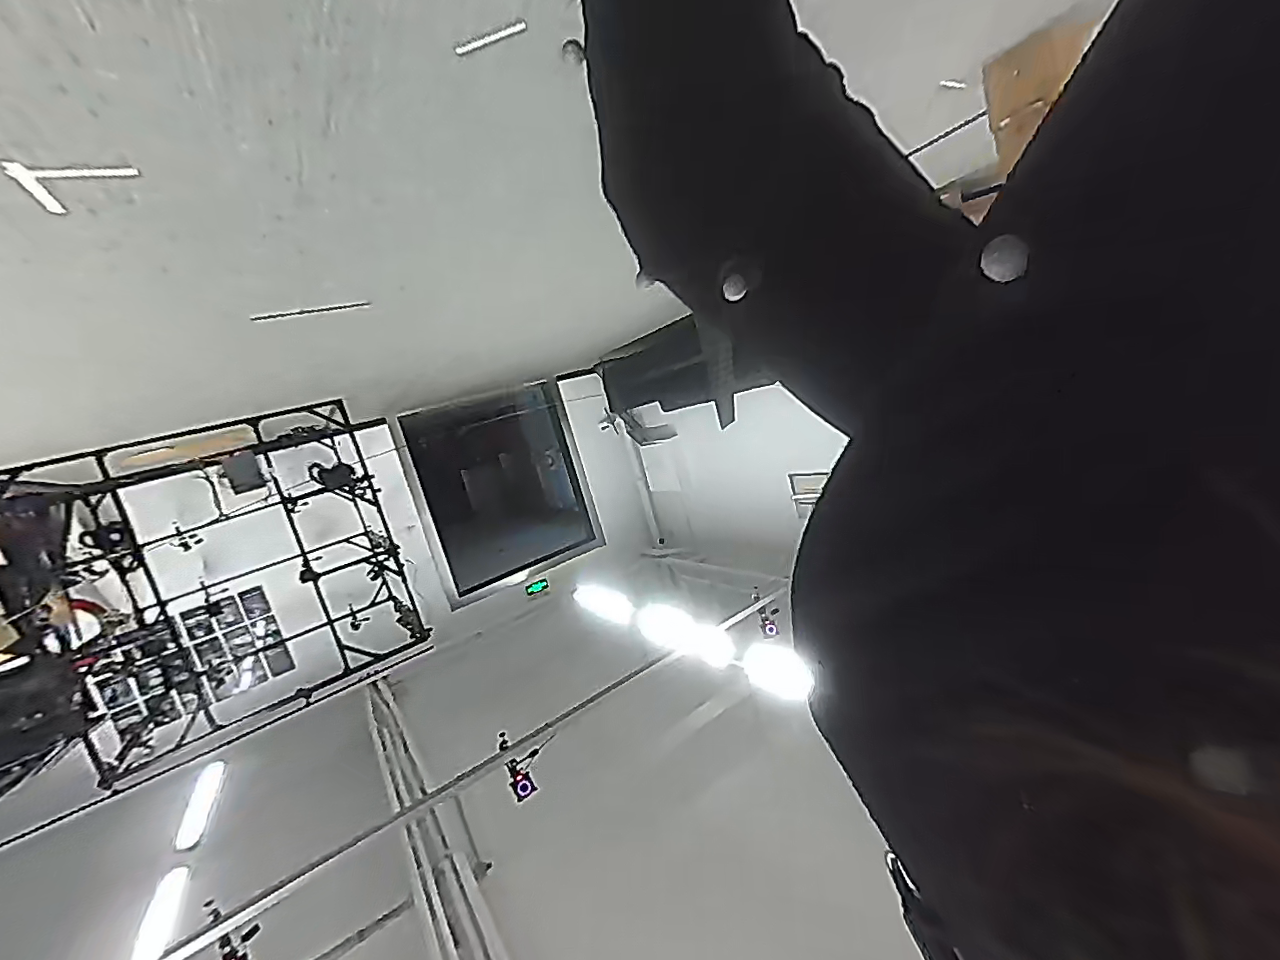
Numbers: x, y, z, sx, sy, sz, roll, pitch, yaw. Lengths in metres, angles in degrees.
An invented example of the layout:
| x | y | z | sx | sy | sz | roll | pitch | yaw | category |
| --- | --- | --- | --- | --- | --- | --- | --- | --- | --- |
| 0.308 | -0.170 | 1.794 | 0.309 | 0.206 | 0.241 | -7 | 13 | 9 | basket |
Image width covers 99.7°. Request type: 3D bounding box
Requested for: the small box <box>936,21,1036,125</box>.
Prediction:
| x | y | z | sx | sy | sz | roll | pitch | yaw | category |
| --- | --- | --- | --- | --- | --- | --- | --- | --- | --- |
| 0.945 | -1.108 | 1.479 | 0.179 | 0.176 | 0.168 | -23 | -169 | -30 | small box |
